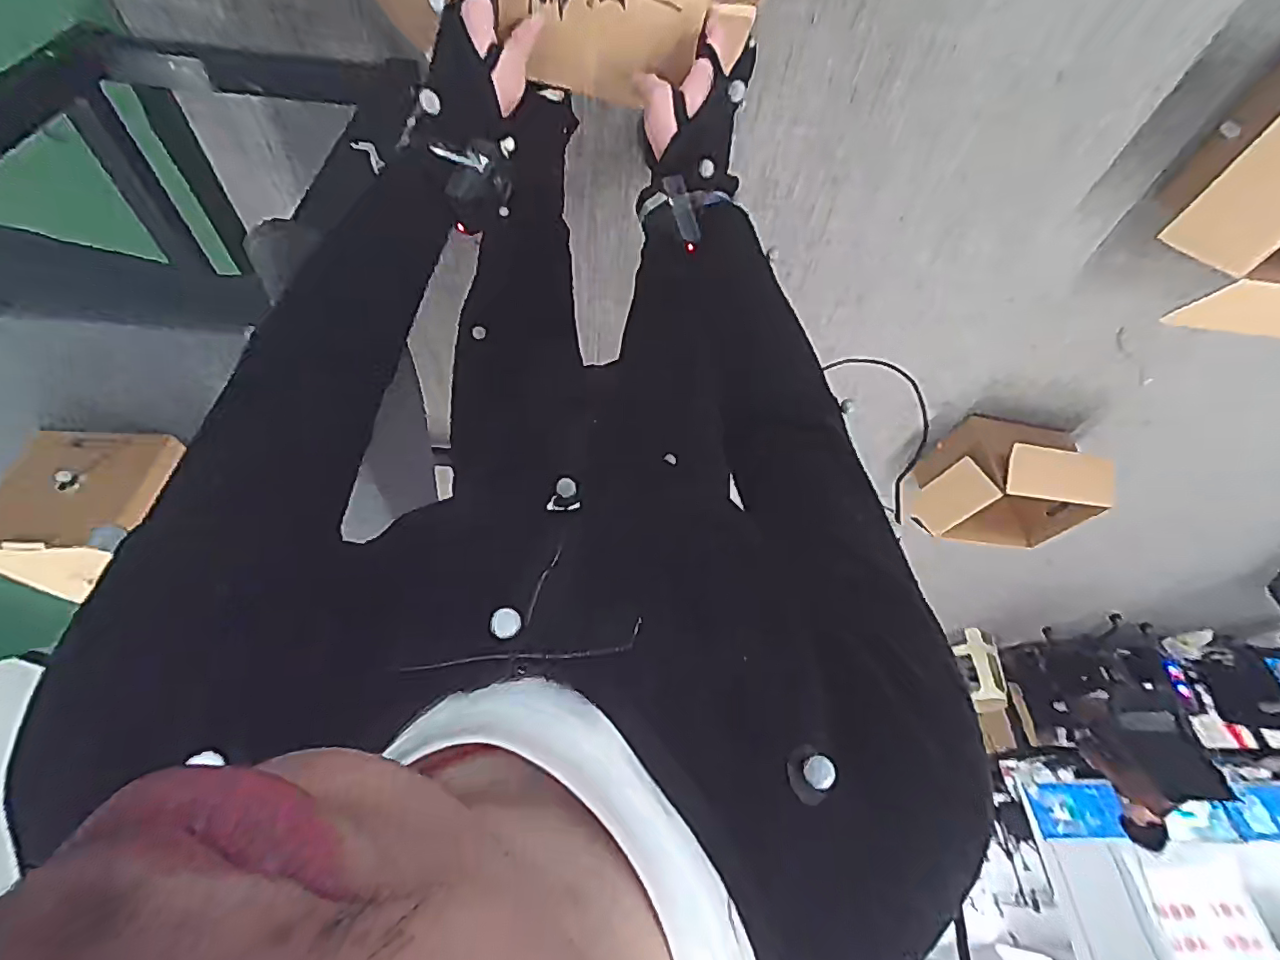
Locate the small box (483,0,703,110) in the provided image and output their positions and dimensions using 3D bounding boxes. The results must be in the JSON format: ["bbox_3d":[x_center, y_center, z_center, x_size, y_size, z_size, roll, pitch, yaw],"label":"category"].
[{"bbox_3d":[-0.031,-0.478,0.475,0.179,0.176,0.168,9,147,-15],"label":"small box"}]
